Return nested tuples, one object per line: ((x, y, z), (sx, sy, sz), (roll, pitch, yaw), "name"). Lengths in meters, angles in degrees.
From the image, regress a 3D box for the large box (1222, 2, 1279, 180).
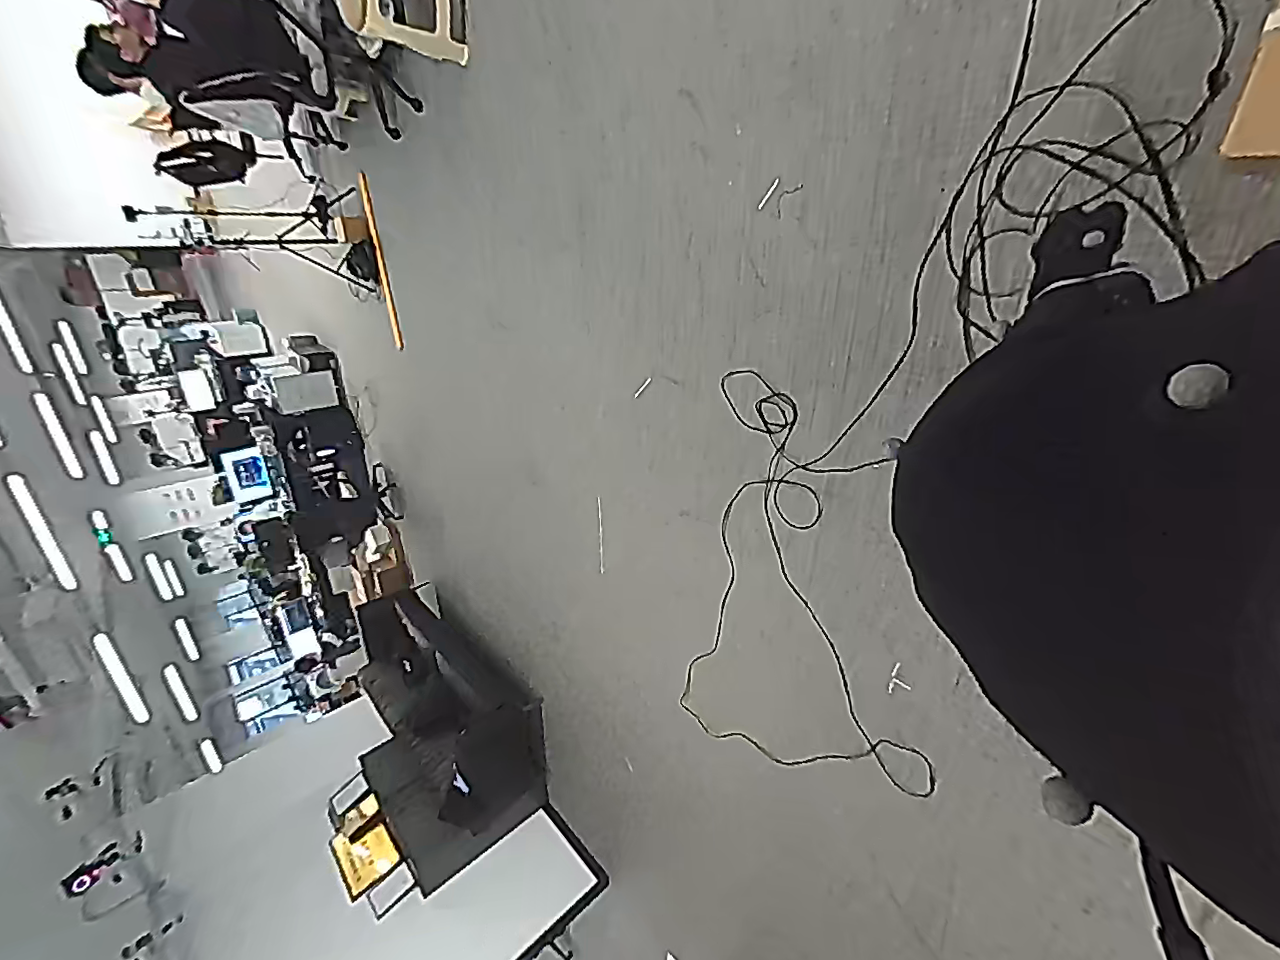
((1.070, -0.574, 0.675), (0.408, 0.320, 0.320), (25, 124, 40), "large box")
